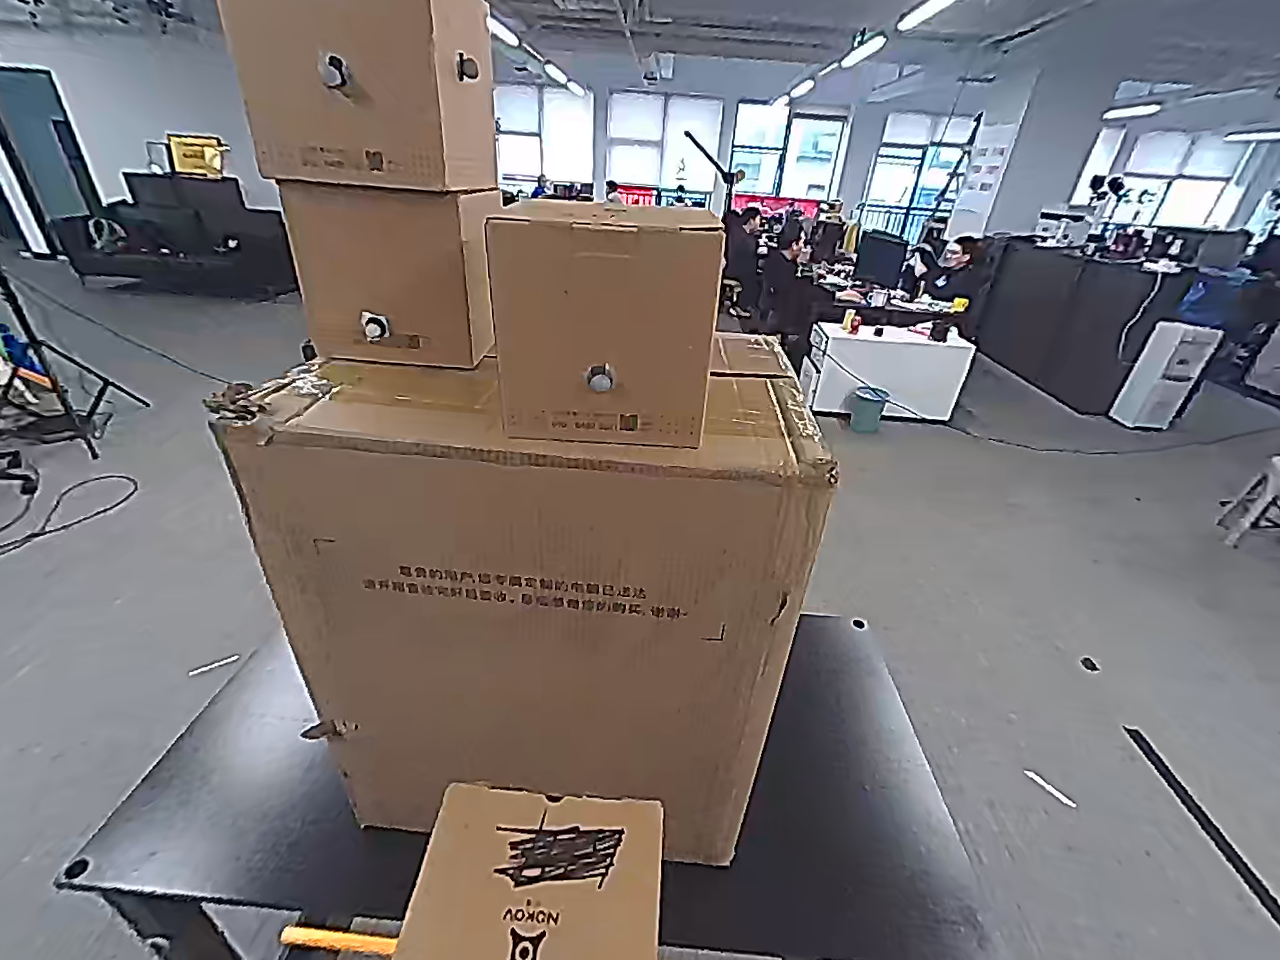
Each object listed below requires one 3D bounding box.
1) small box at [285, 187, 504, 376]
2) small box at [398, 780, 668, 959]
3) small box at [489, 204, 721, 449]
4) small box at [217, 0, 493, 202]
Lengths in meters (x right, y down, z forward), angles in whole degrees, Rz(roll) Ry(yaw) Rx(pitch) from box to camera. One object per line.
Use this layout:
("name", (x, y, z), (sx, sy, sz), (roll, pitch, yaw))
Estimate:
("small box", (-0.248, -0.227, 0.603), (0.168, 0.176, 0.179), (2, 30, -2))
("small box", (-0.070, 0.353, 0.395), (0.168, 0.176, 0.179), (4, 37, 2))
("small box", (-0.025, -0.143, 0.483), (0.168, 0.176, 0.179), (2, 31, 1))
("small box", (-0.242, -0.361, 0.508), (0.168, 0.176, 0.179), (4, 30, -1))
